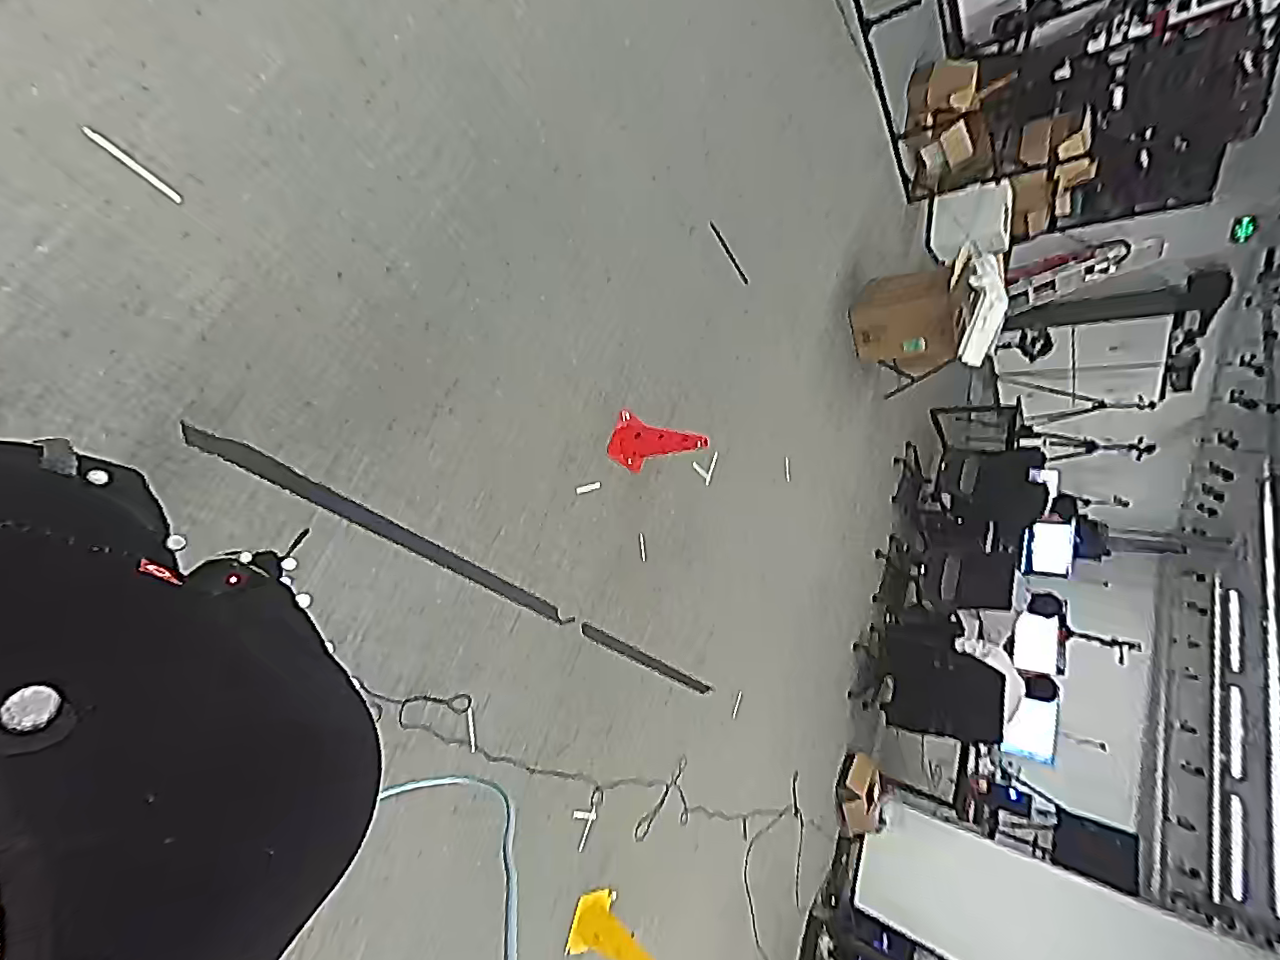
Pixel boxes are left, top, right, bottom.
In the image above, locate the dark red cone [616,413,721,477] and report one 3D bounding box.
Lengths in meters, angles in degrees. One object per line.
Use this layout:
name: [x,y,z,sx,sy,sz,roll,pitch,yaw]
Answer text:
dark red cone: [0.116,-0.120,1.958,0.202,0.394,0.201,32,70,-46]
